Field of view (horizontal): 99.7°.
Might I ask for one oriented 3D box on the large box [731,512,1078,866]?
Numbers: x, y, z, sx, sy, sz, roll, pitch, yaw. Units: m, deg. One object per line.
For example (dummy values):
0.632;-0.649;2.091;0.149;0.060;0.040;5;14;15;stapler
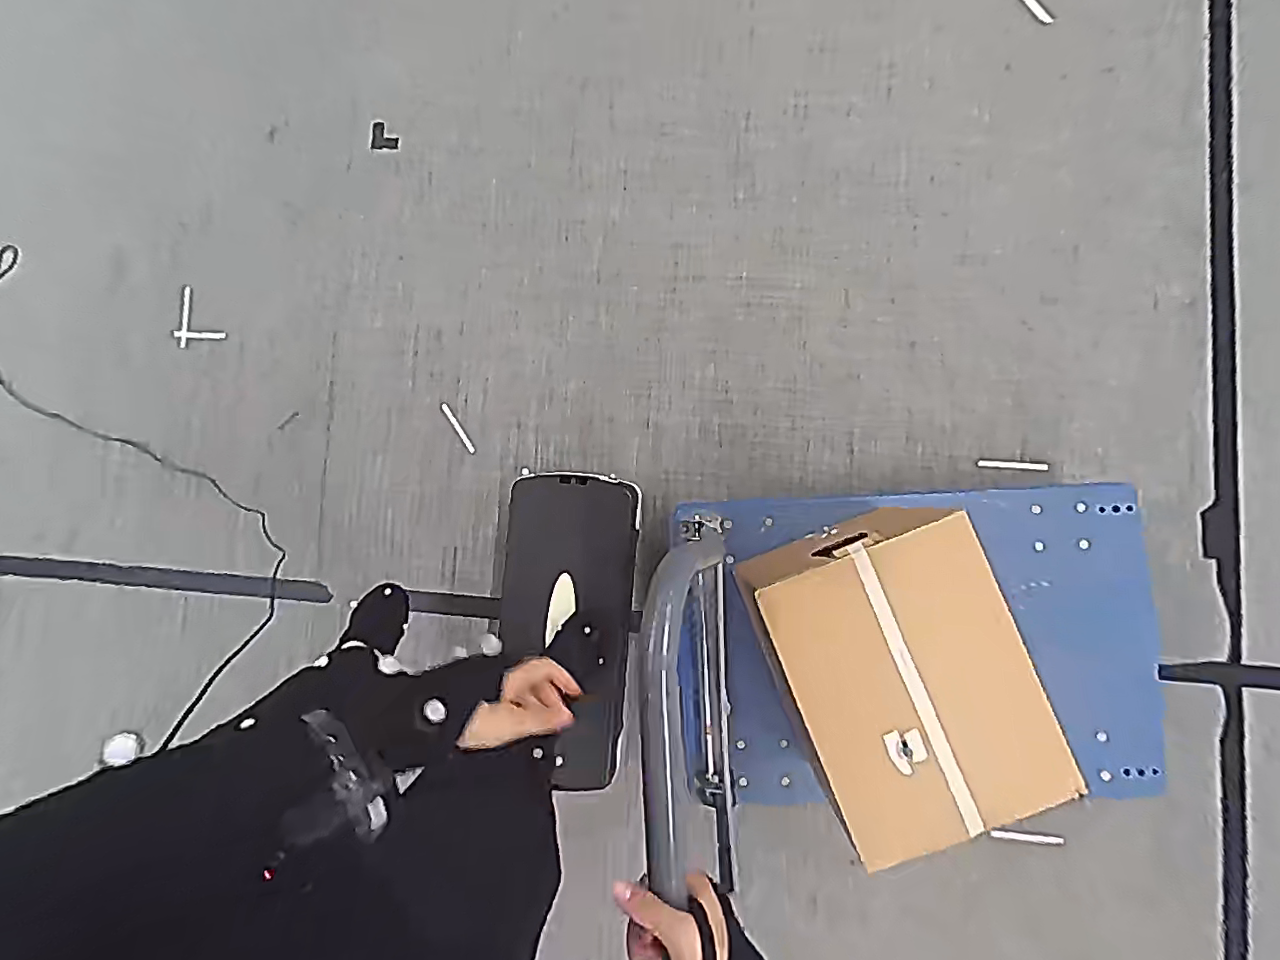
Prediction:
0.381;0.292;0.889;0.320;0.320;0.408;-22;87;3;large box
